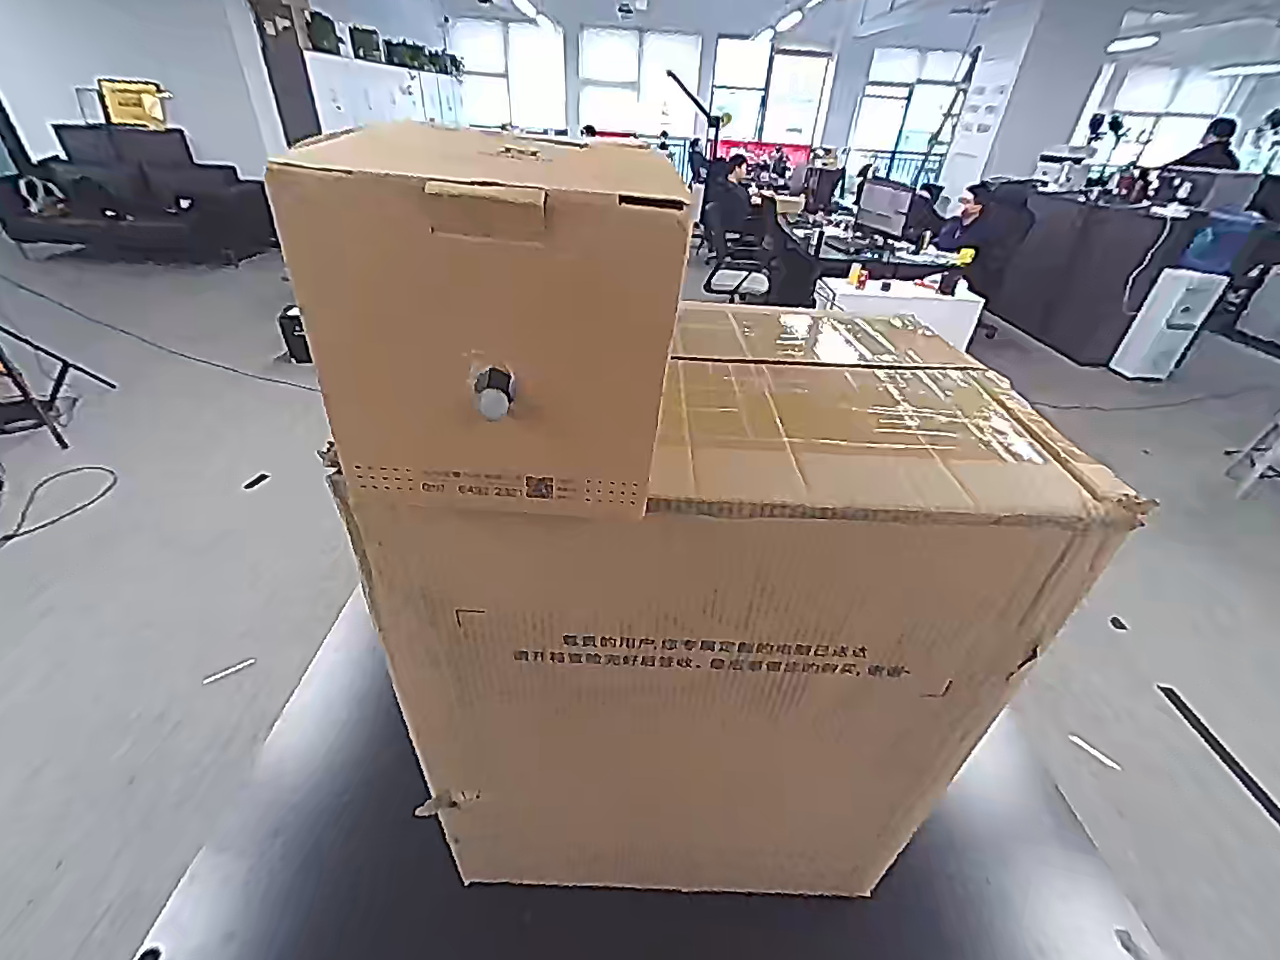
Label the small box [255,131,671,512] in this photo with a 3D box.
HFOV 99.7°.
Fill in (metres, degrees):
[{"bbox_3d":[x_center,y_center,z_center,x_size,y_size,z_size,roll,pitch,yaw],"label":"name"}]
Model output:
[{"bbox_3d":[-0.077,-0.096,0.325,0.168,0.176,0.179,3,37,-6],"label":"small box"}]
